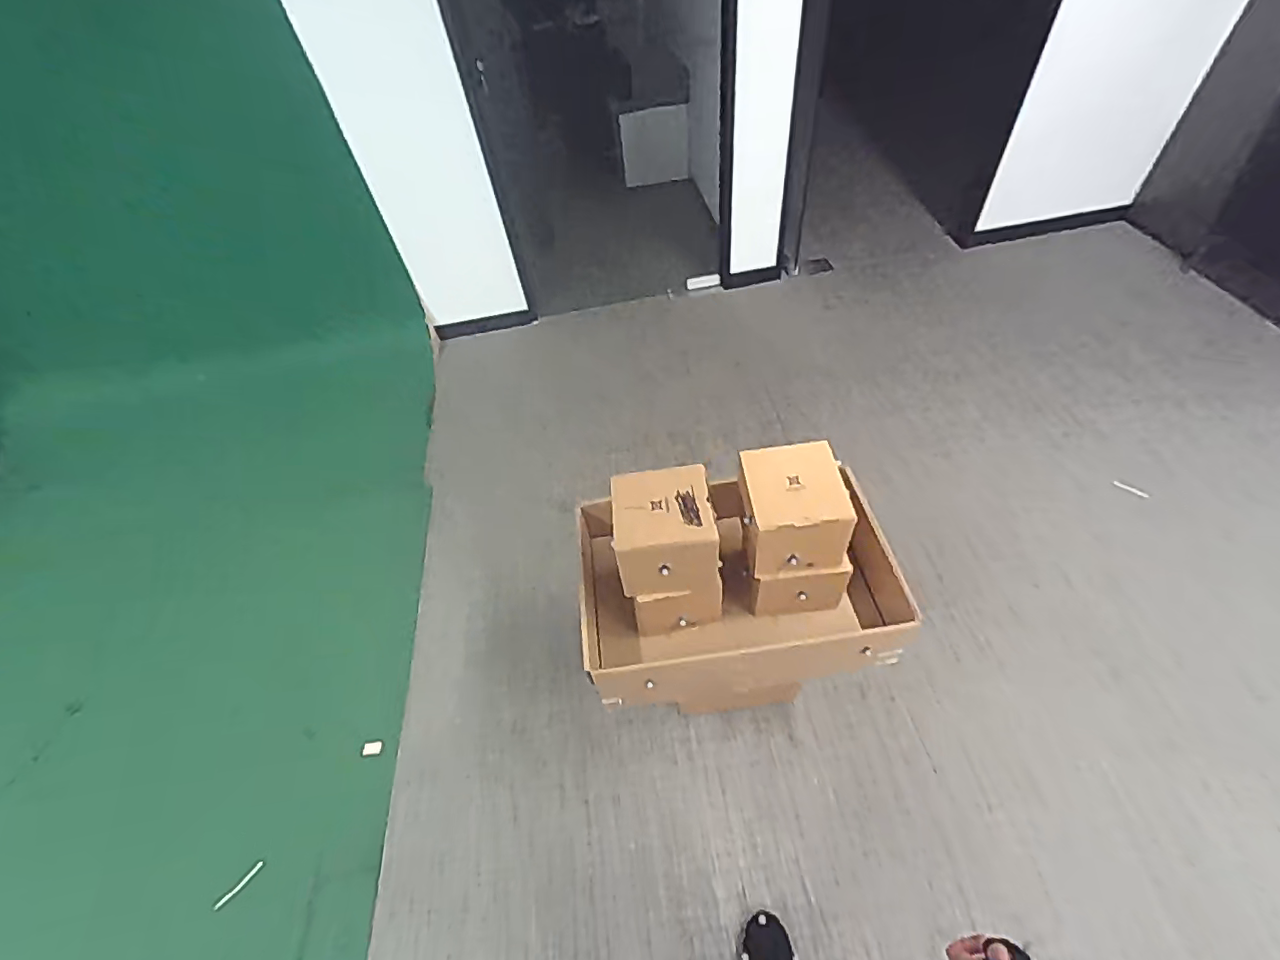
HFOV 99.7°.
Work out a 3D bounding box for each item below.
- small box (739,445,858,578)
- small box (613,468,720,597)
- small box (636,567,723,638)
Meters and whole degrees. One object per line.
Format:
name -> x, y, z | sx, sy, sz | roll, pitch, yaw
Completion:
small box -> 0.281, 0.061, 1.005 | 0.168, 0.176, 0.179 | -7, 50, 3
small box -> 0.048, 0.100, 0.999 | 0.179, 0.176, 0.168 | -7, 50, 2
small box -> 0.069, 0.202, 1.125 | 0.168, 0.176, 0.179 | -11, 50, -2
